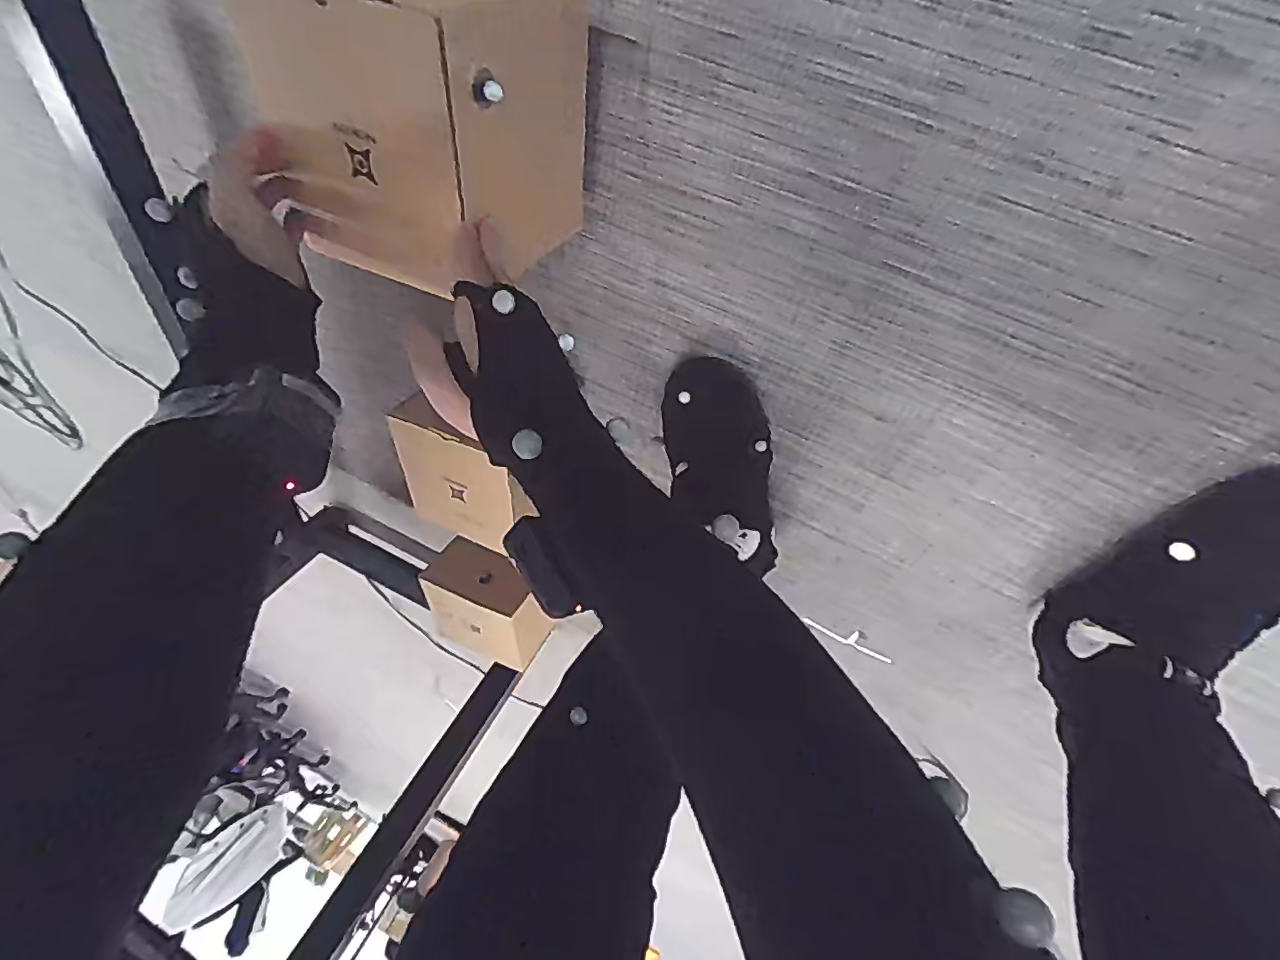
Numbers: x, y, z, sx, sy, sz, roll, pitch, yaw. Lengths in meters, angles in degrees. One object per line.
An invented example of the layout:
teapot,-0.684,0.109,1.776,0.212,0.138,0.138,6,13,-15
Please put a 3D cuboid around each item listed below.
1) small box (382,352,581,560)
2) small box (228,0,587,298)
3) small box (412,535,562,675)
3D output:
small box,-0.185,-0.038,0.686,0.168,0.176,0.179,21,135,15
small box,-0.151,-0.274,0.410,0.168,0.176,0.179,23,138,12
small box,-0.240,0.185,0.906,0.179,0.176,0.168,19,134,15
